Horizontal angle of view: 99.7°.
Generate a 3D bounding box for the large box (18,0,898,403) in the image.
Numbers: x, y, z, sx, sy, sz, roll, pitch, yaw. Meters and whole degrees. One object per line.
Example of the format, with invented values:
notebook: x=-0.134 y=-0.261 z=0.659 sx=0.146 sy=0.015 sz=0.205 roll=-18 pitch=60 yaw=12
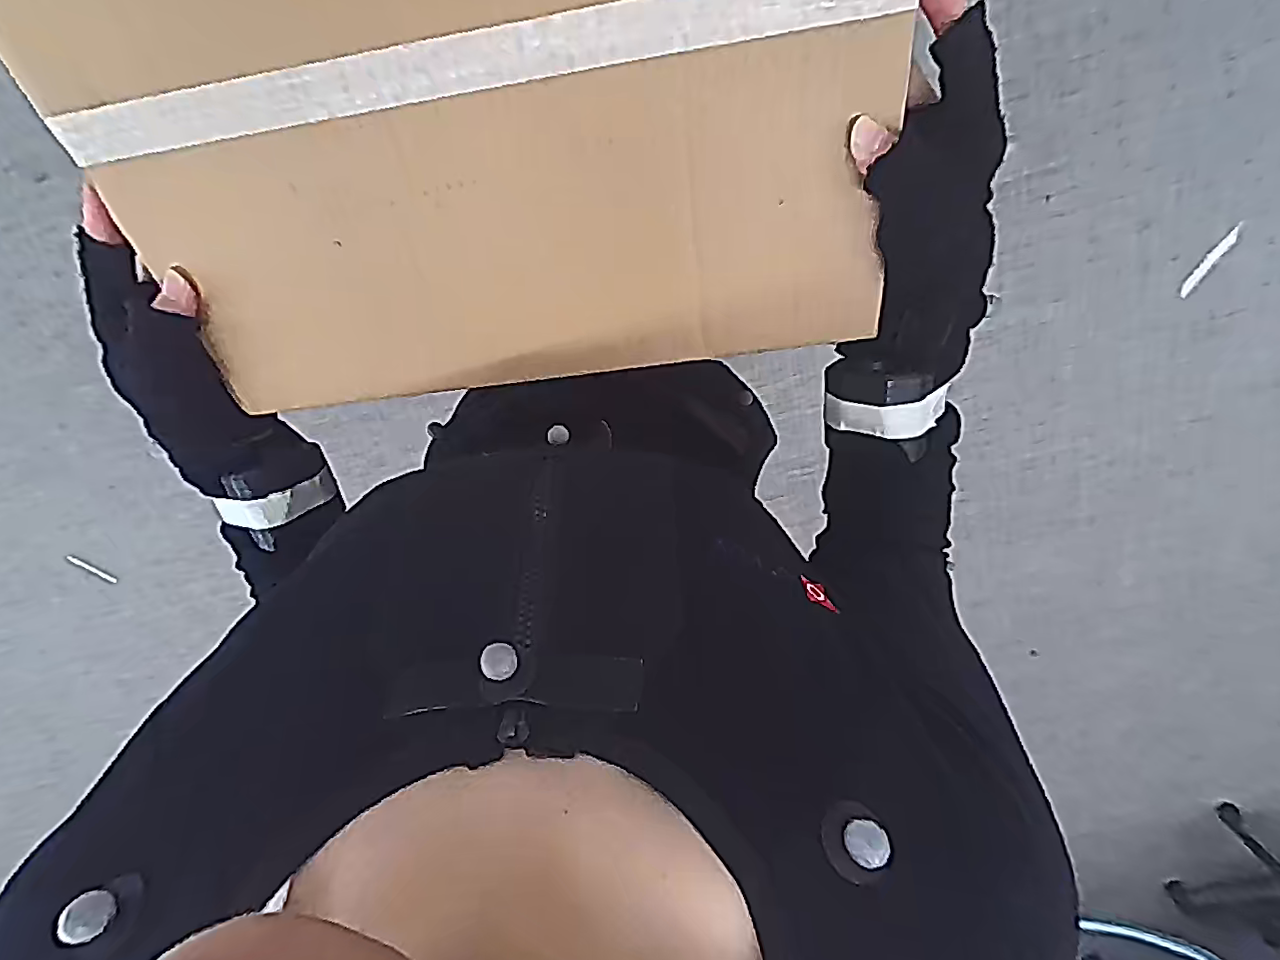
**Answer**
large box: x=-0.079 y=-0.283 z=0.379 sx=0.408 sy=0.320 sz=0.320 roll=-6 pitch=127 yaw=6
